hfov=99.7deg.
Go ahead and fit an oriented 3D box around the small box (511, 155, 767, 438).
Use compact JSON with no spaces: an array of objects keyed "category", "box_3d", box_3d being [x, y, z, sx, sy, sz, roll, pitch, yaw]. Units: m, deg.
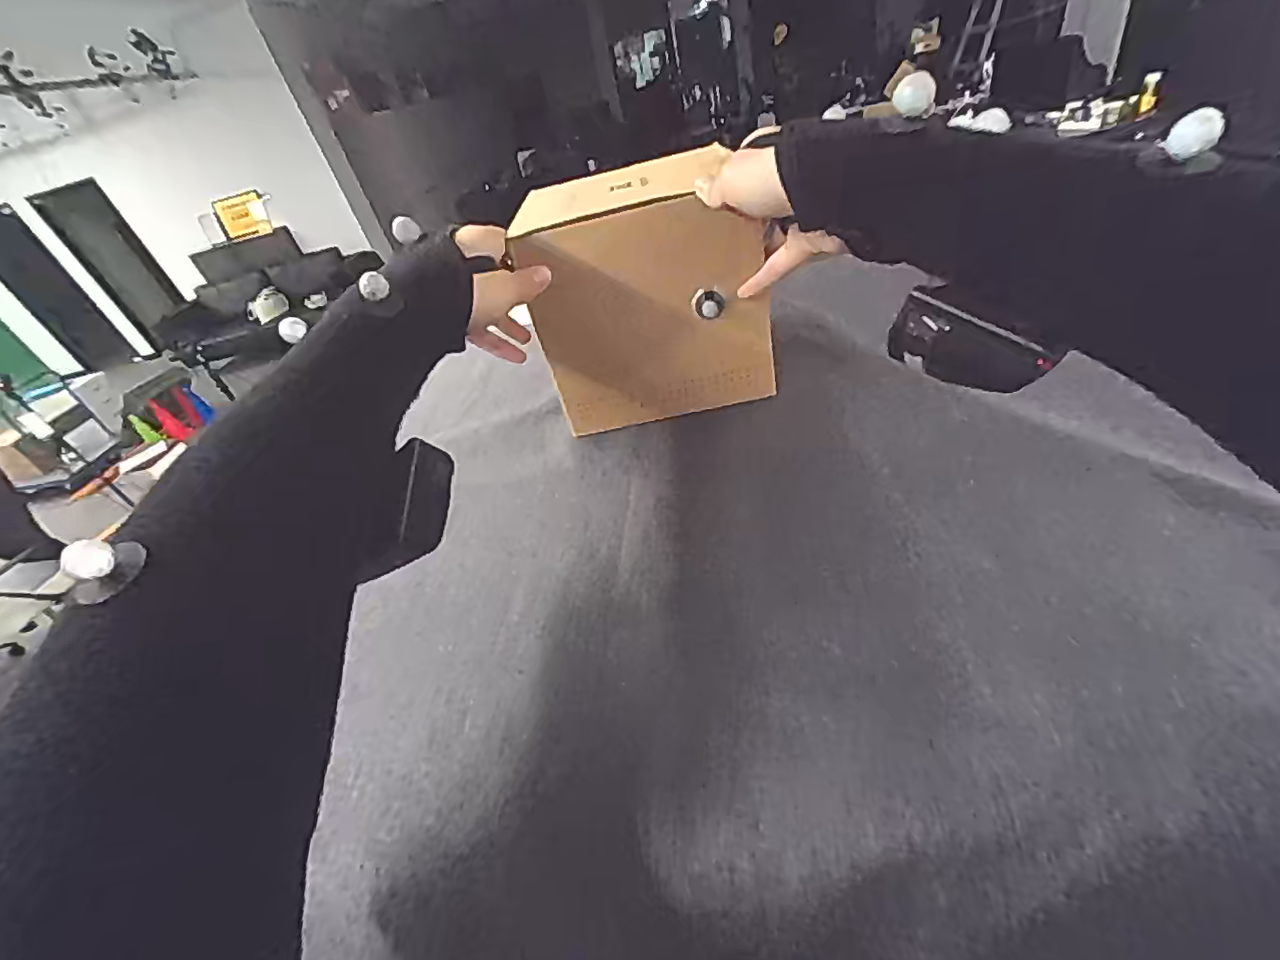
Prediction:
[{"category":"small box","box_3d":[0.009,-0.158,0.471,0.179,0.176,0.168,-11,37,5]}]
